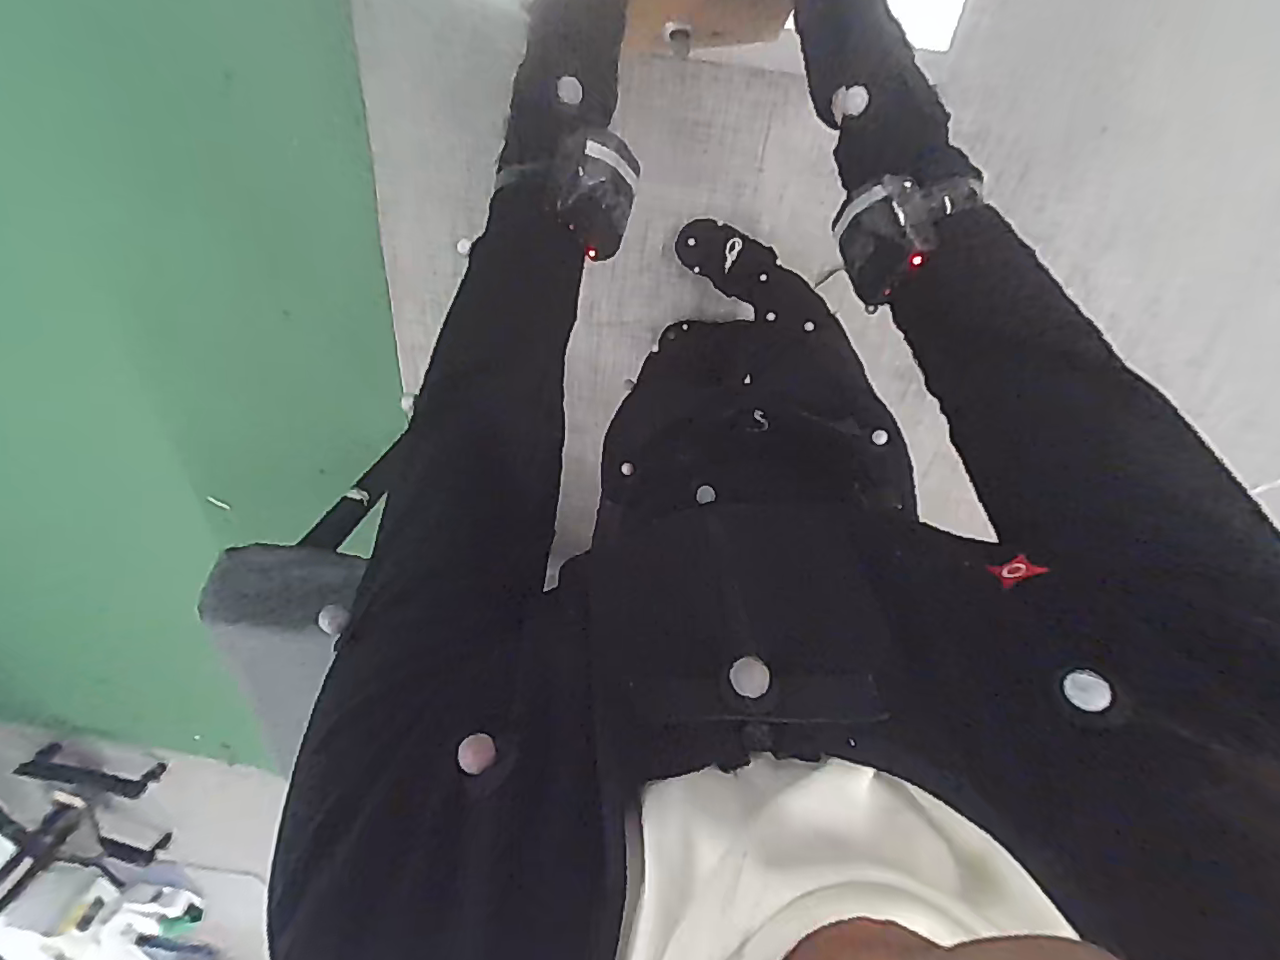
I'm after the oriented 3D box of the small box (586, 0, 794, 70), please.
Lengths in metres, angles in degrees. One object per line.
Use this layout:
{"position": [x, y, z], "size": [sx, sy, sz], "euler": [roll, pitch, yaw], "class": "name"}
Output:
{"position": [0.033, -0.446, 0.398], "size": [0.168, 0.176, 0.179], "euler": [-4, 107, 3], "class": "small box"}
